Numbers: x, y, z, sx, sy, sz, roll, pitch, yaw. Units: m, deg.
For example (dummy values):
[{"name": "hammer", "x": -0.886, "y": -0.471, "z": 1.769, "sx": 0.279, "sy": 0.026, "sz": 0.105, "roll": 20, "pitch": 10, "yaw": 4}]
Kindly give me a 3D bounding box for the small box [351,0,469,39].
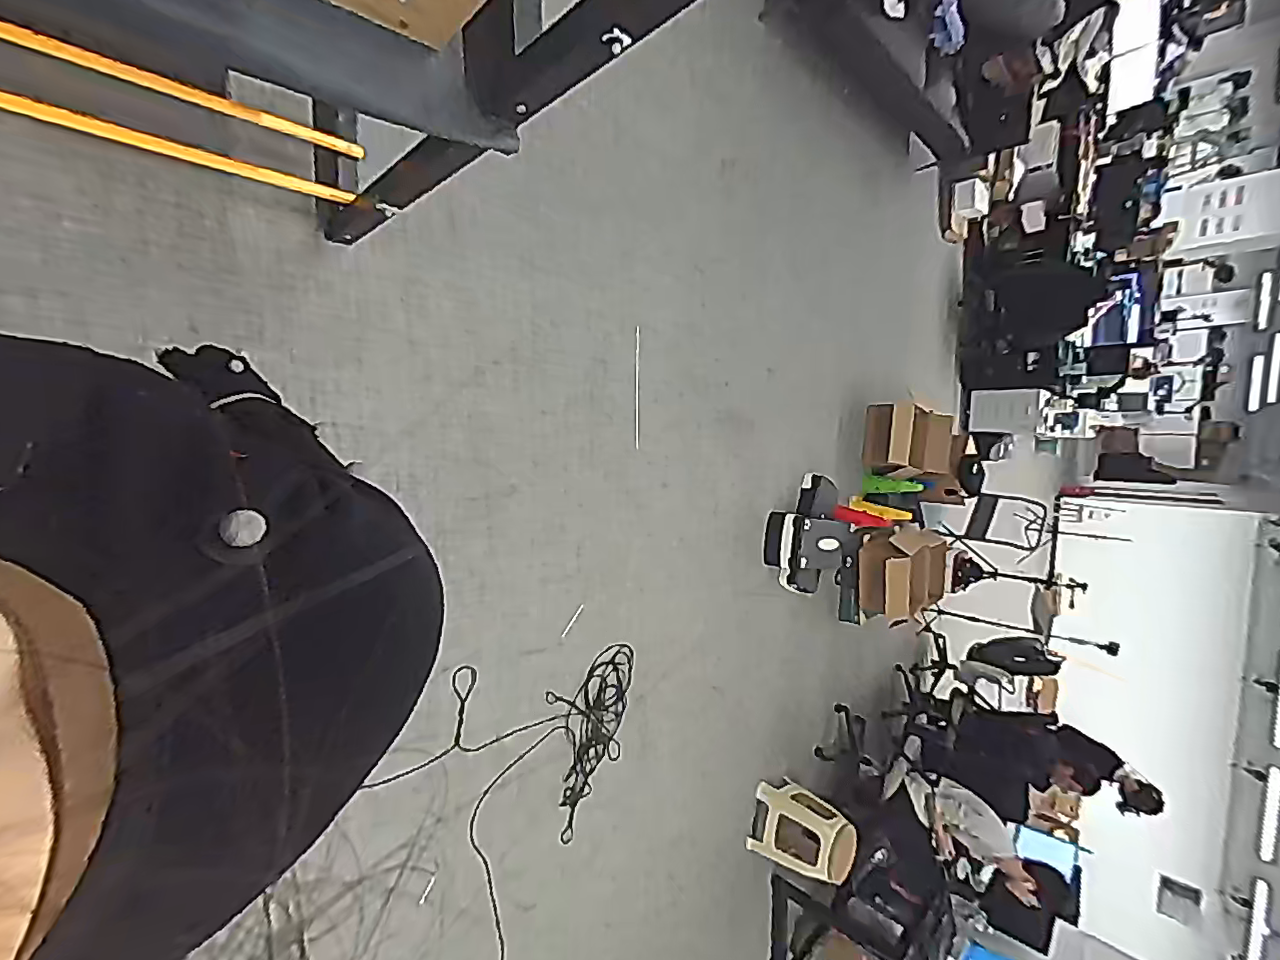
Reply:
[{"name": "small box", "x": -0.291, "y": -0.688, "z": 0.648, "sx": 0.168, "sy": 0.176, "sz": 0.179, "roll": -11, "pitch": 101, "yaw": -45}]
